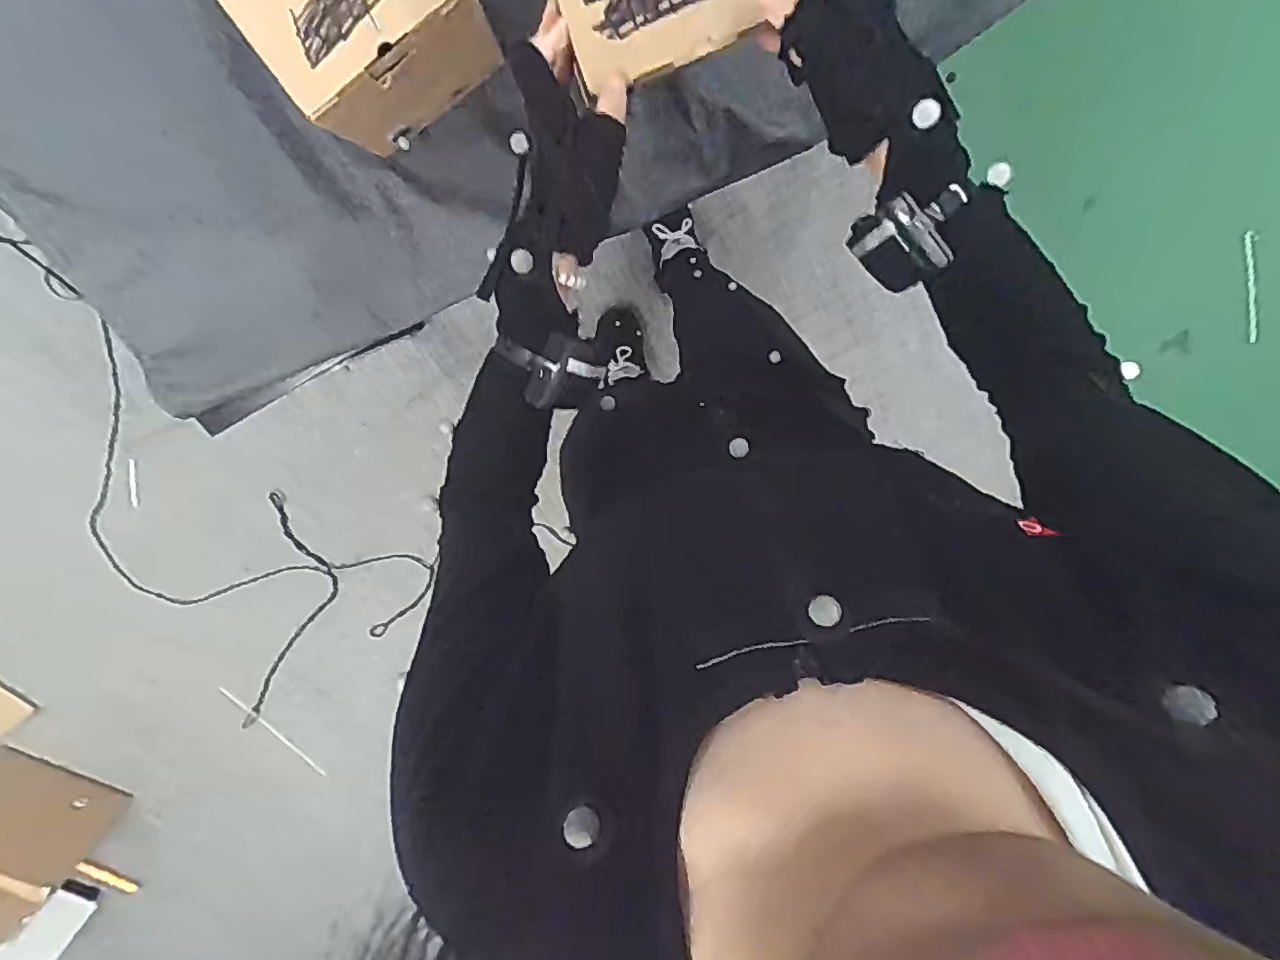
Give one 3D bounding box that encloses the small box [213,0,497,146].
[{"bbox_3d":[-0.247,-0.420,0.463,0.168,0.176,0.179,-32,110,8],"label":"small box"}]
